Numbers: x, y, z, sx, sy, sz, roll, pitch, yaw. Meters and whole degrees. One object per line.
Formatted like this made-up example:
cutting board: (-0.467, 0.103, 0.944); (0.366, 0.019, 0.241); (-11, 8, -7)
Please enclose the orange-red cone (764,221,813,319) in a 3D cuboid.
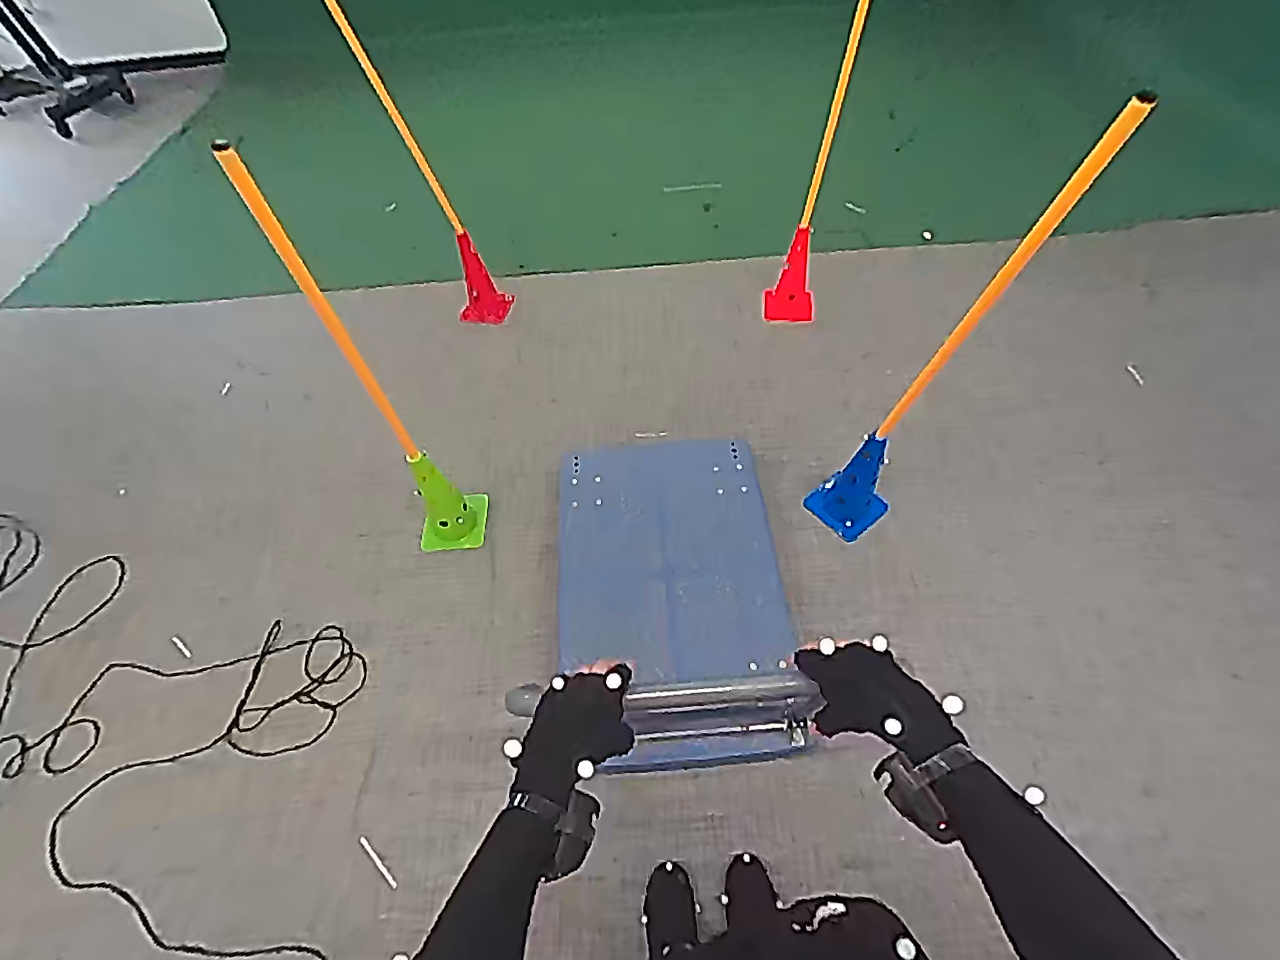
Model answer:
orange-red cone: (0.606, -0.833, 2.114); (0.198, 0.360, 0.199); (5, 57, 8)
